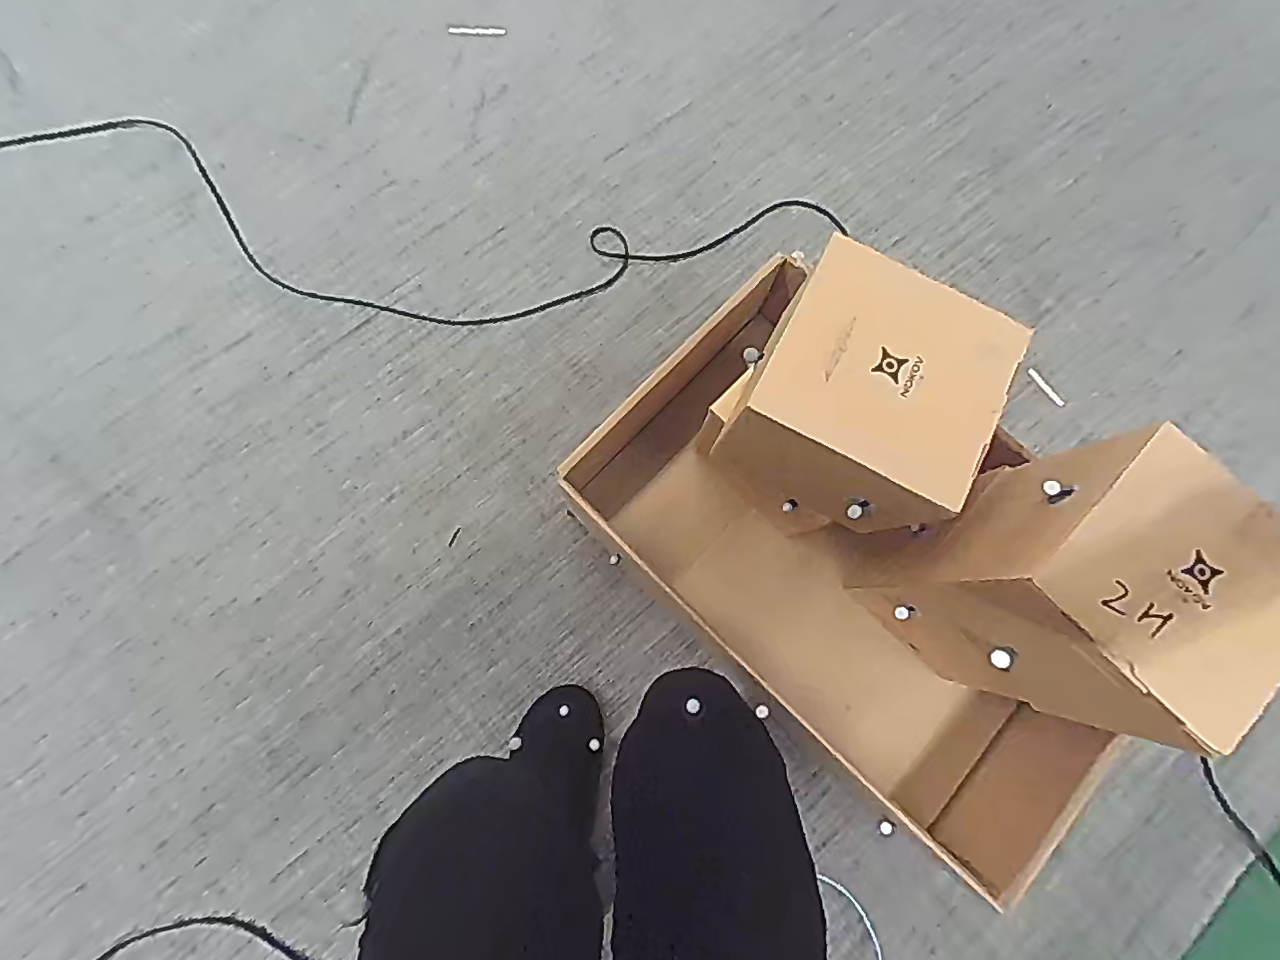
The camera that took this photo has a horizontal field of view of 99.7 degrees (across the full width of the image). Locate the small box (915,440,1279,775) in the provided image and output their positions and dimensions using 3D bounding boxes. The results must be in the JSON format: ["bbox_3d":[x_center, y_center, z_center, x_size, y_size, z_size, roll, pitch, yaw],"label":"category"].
[{"bbox_3d":[0.380,0.098,0.459,0.179,0.176,0.168,-43,82,-9],"label":"small box"}]
